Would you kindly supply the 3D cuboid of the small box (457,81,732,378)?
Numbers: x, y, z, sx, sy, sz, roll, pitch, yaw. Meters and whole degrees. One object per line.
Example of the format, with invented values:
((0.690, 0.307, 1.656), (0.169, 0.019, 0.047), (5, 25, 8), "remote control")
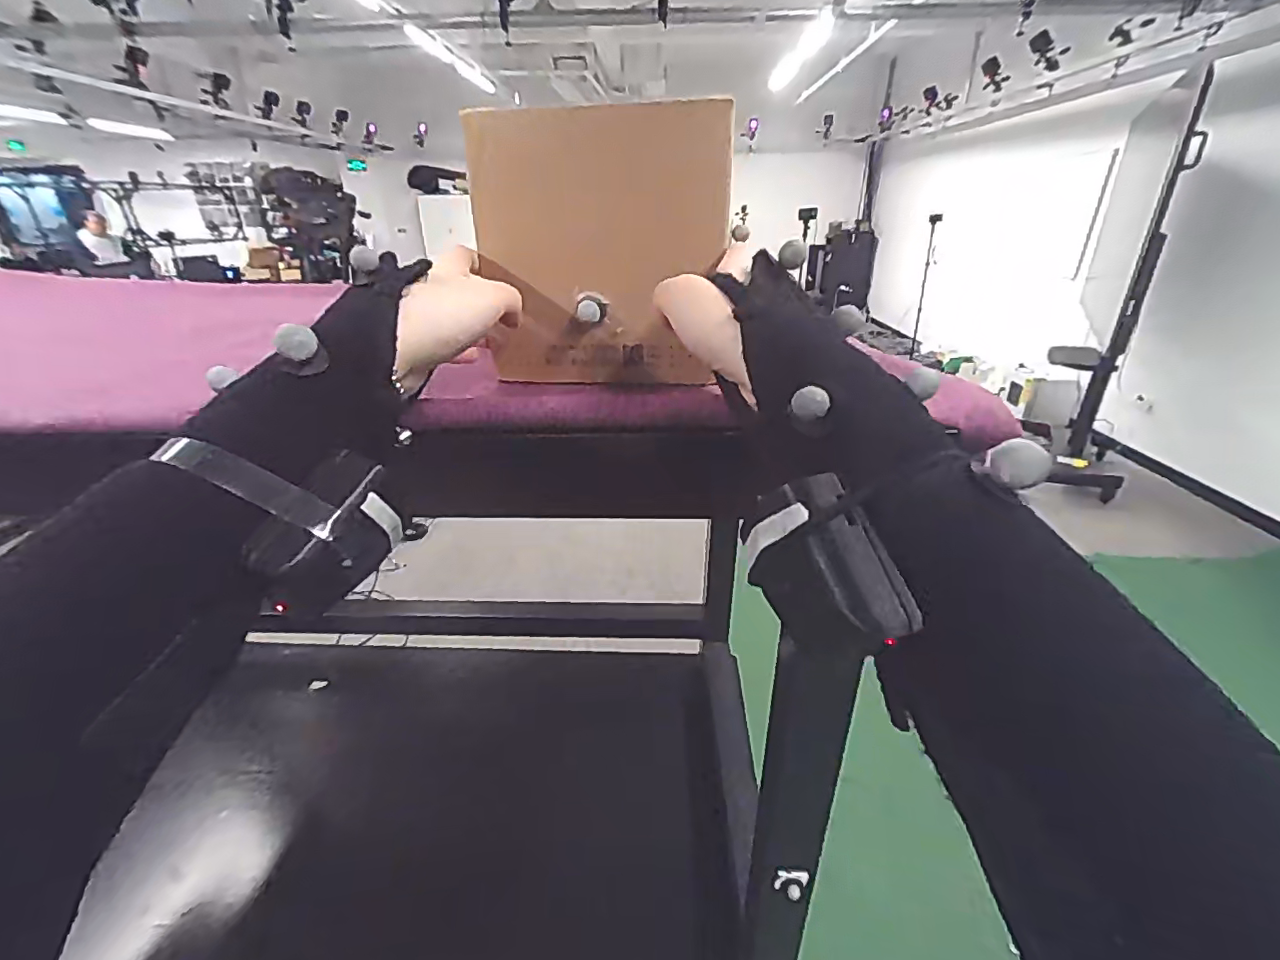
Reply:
((-0.016, -0.184, 0.417), (0.168, 0.176, 0.179), (2, 26, 8), "small box")
